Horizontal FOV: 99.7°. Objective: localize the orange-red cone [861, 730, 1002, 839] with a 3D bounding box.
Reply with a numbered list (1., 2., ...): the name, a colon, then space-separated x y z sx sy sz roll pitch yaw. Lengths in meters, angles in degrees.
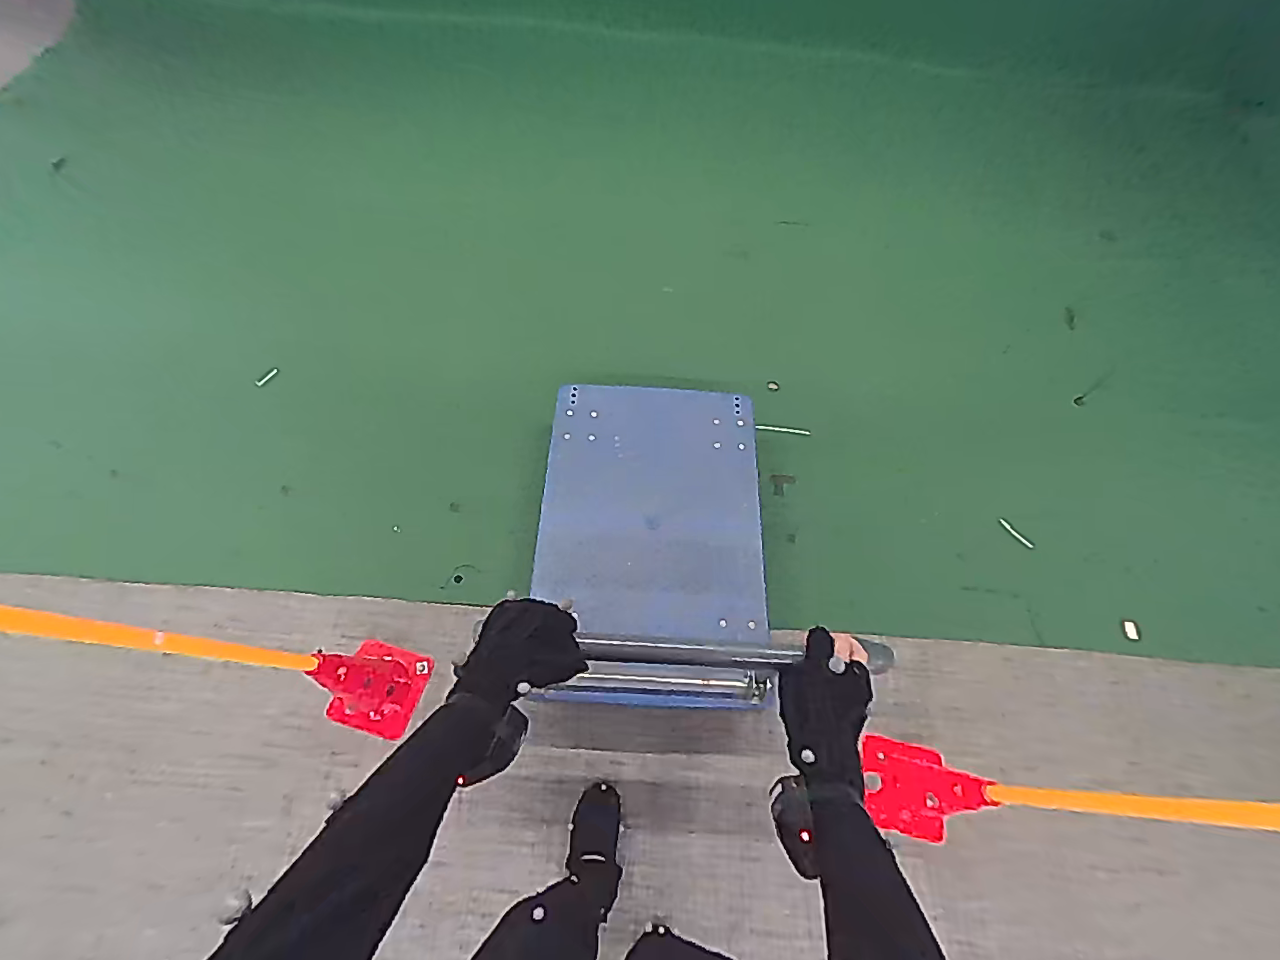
1. orange-red cone: 0.638 0.646 1.141 0.198 0.360 0.199 14 63 5
